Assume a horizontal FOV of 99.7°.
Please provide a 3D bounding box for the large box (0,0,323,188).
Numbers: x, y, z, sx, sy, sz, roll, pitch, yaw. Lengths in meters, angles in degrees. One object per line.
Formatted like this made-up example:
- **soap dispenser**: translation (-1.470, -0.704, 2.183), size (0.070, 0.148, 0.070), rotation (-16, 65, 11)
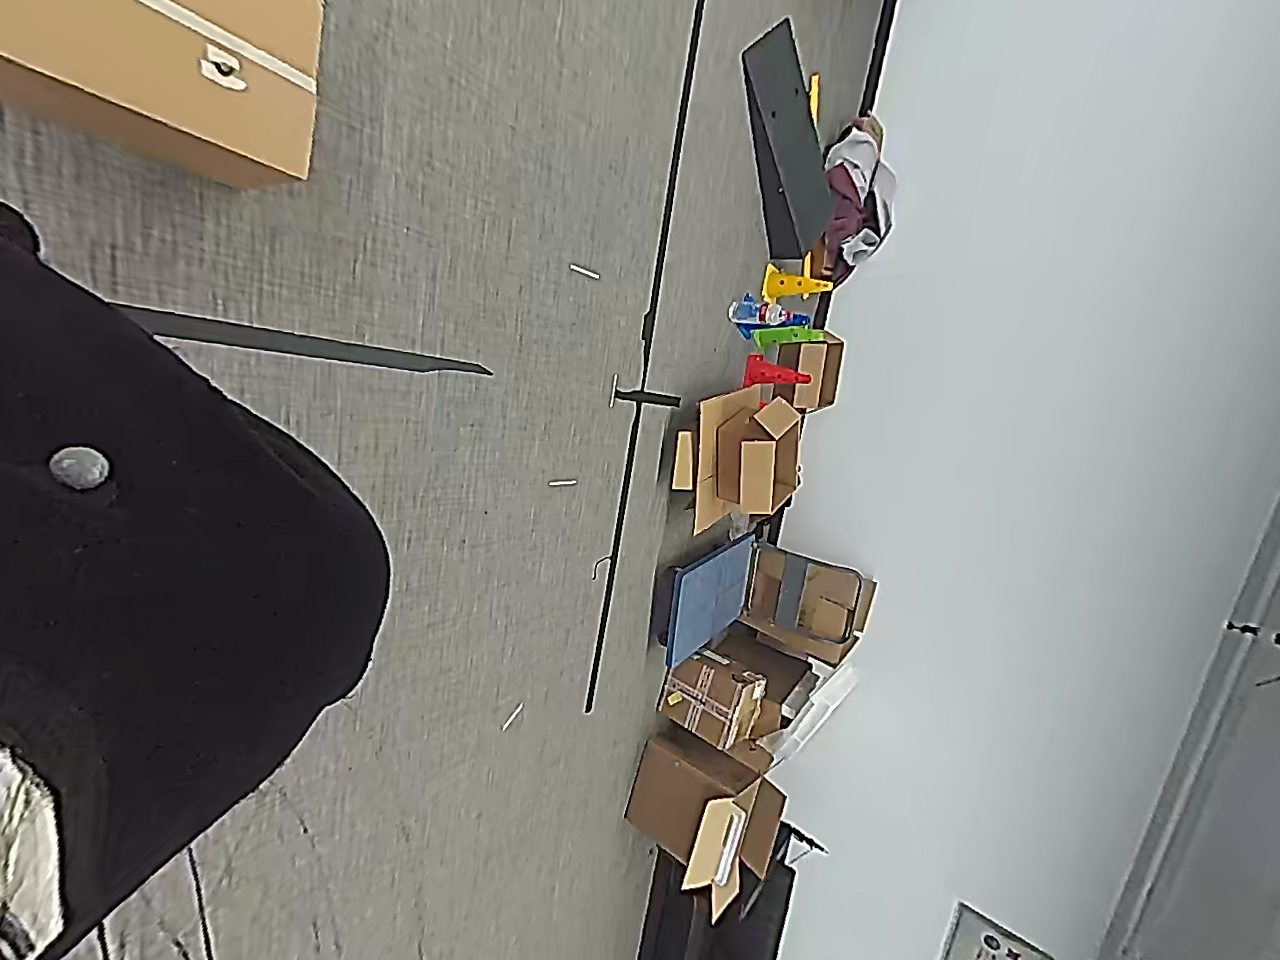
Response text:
- **large box**: translation (-0.813, -0.728, 0.886), size (0.408, 0.320, 0.320), rotation (-1, 105, -55)
